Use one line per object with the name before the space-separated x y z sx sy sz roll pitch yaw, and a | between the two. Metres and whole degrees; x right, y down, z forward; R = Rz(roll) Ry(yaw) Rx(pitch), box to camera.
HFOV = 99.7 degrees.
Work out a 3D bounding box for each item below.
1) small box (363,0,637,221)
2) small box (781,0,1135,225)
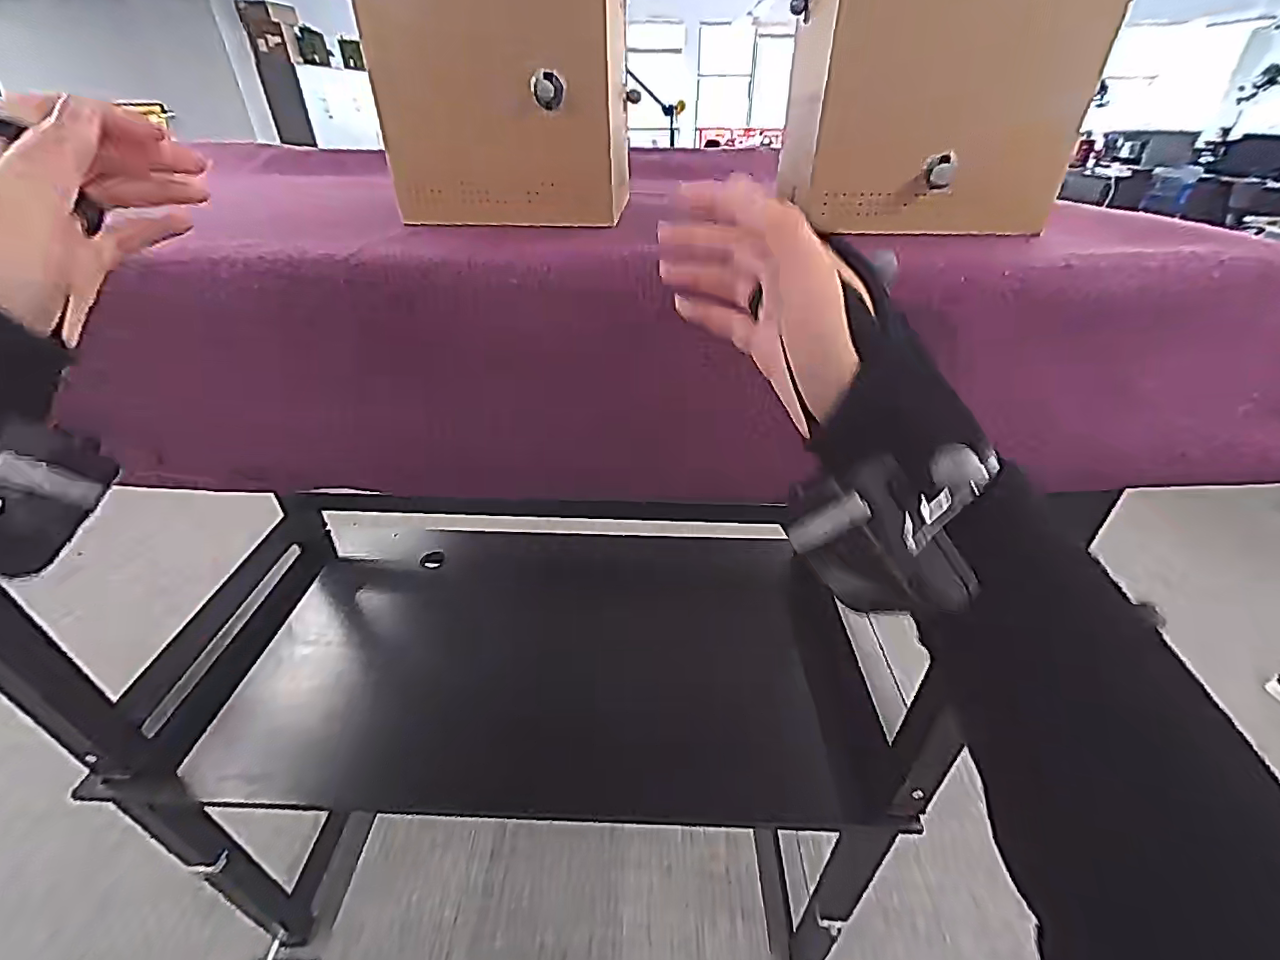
small box | -0.095 -0.322 0.453 0.179 0.176 0.168 2 34 4
small box | 0.219 -0.301 0.417 0.179 0.176 0.168 2 34 3
